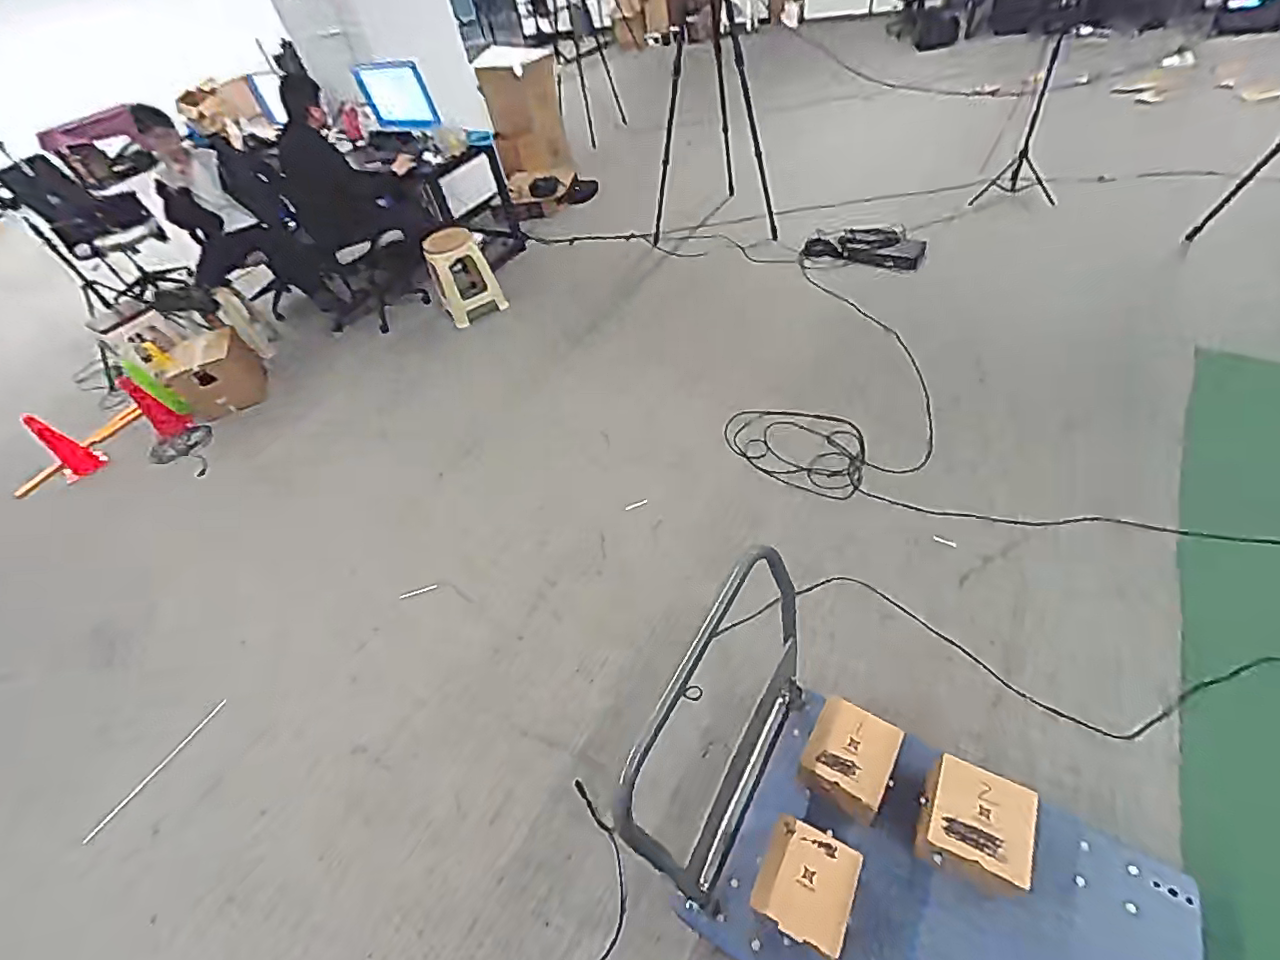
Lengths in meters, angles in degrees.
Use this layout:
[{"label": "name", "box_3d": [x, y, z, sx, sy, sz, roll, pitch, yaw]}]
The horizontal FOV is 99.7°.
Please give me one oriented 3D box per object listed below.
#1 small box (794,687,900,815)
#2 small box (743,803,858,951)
[{"label": "small box", "box_3d": [0.455, 0.607, 1.206, 0.168, 0.176, 0.179, 22, 56, 28]}, {"label": "small box", "box_3d": [0.316, 0.787, 1.072, 0.168, 0.176, 0.179, 18, 55, 25]}]
